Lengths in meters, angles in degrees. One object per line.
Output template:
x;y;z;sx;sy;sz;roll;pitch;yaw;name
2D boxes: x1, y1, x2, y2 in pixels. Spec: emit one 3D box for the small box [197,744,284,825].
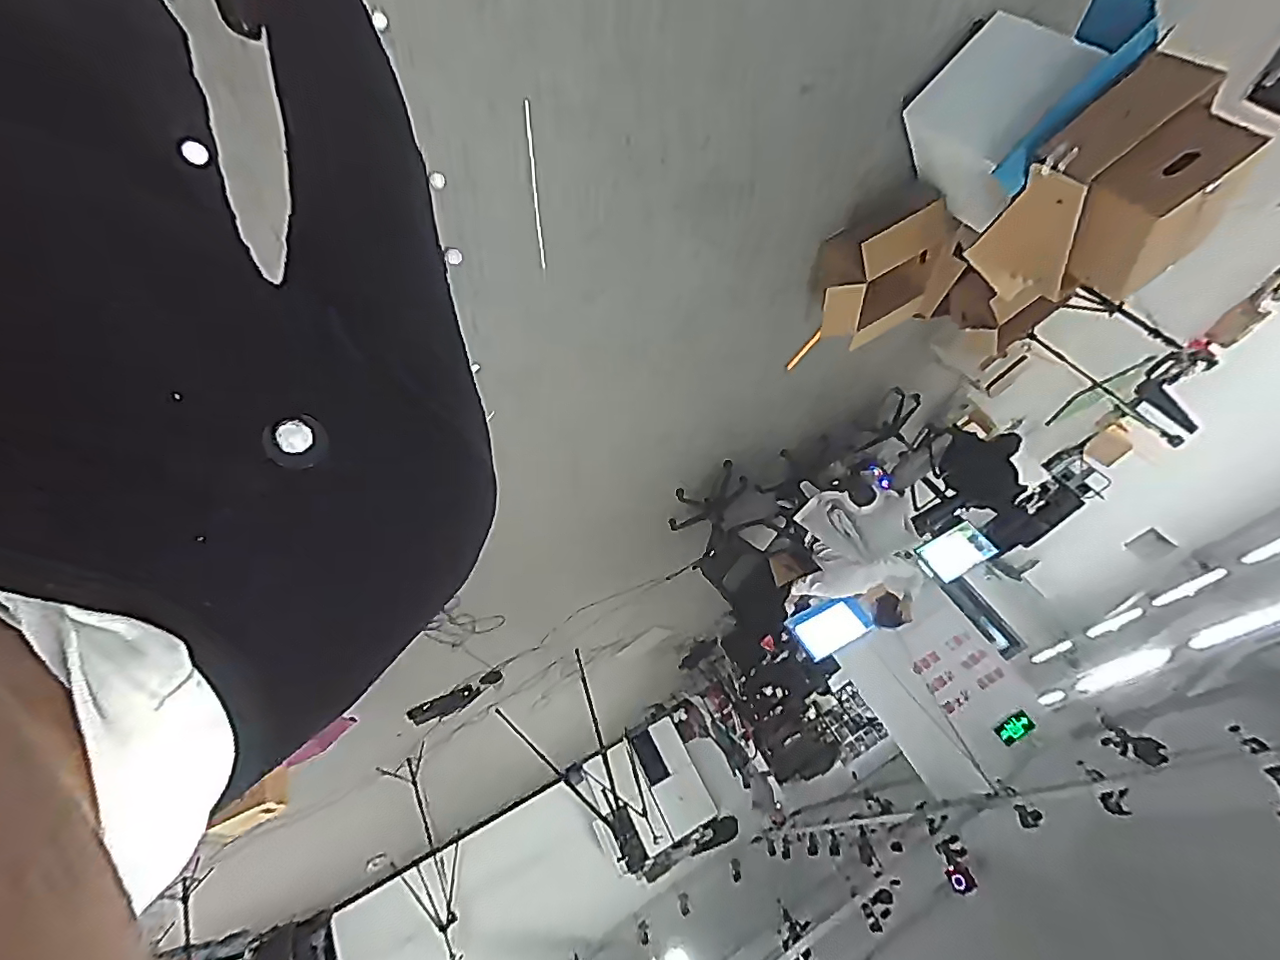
-1.307;0.993;1.767;0.179;0.176;0.168;-21;149;-18;small box
